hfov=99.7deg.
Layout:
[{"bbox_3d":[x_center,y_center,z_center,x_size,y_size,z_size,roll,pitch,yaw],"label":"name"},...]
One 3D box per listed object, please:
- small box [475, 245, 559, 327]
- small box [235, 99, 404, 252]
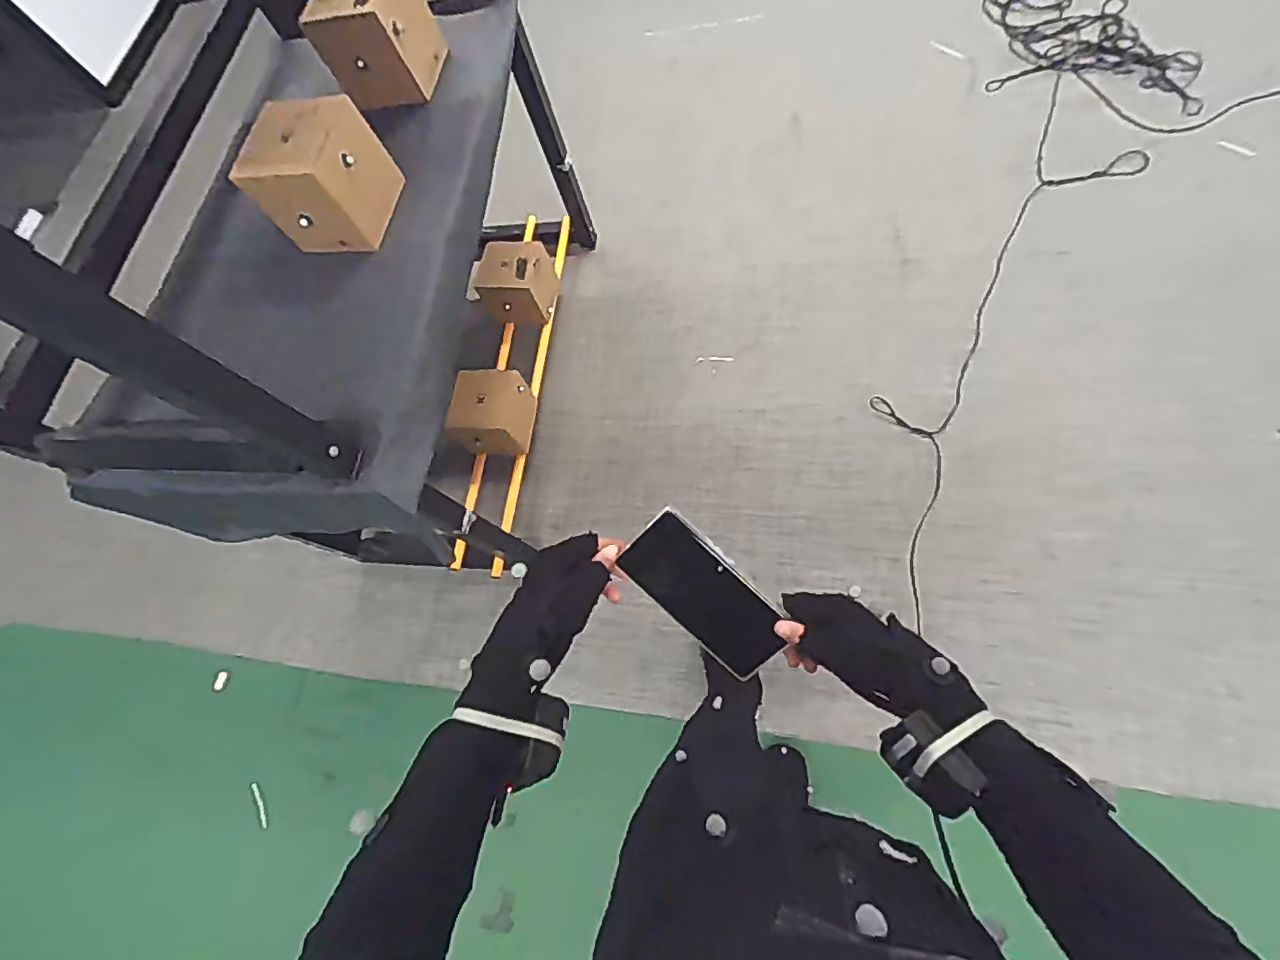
[{"bbox_3d":[-0.358,-0.574,1.615,0.179,0.176,0.168,5,70,13],"label":"small box"},{"bbox_3d":[-0.551,-0.527,0.957,0.168,0.176,0.179,5,71,13],"label":"small box"}]
